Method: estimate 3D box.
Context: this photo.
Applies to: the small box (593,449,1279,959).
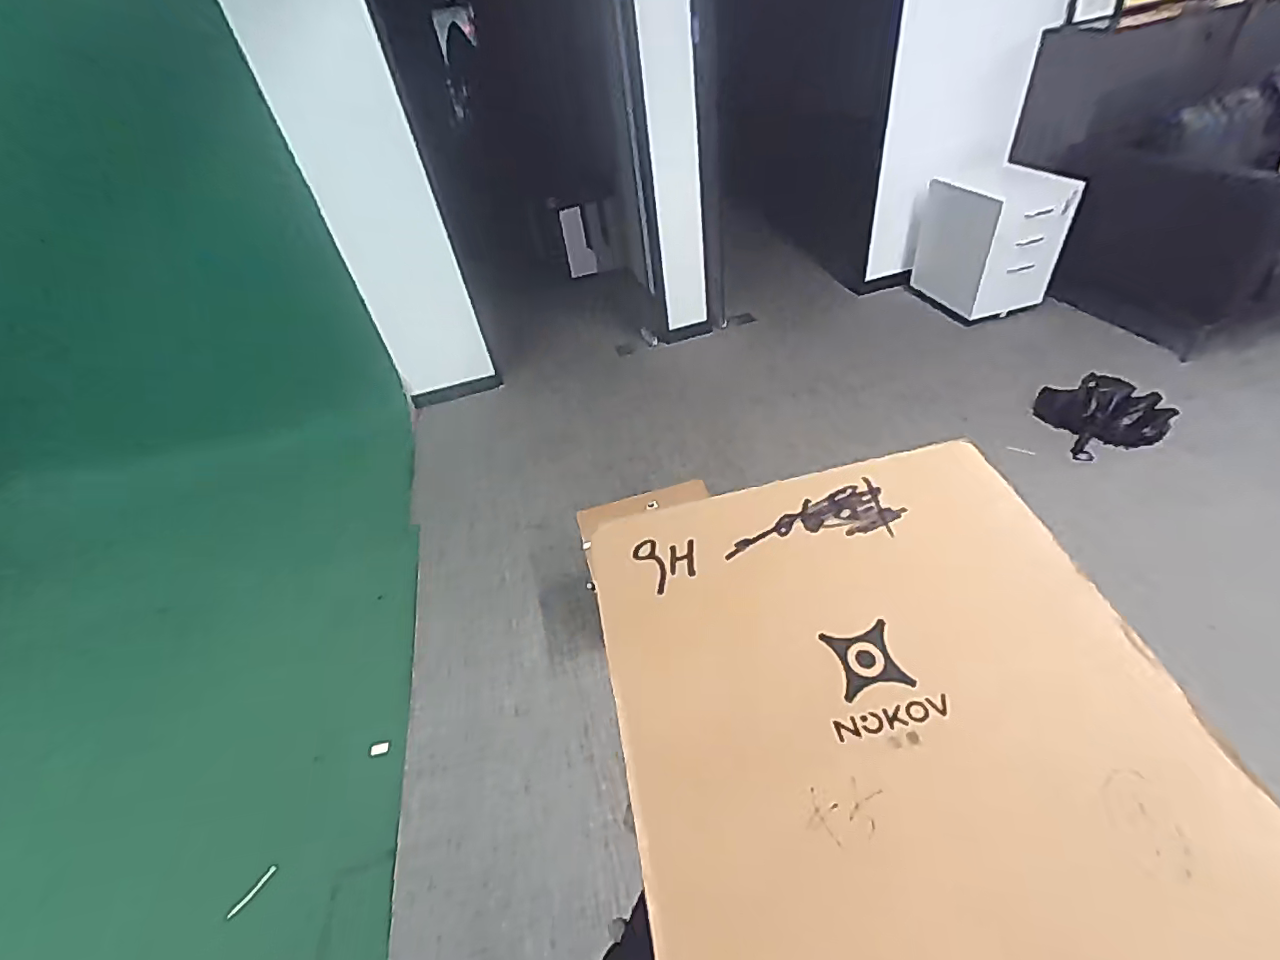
[{"bbox_3d":[0.084,0.118,0.242,0.168,0.176,0.179,-13,52,-1],"label":"small box"}]
